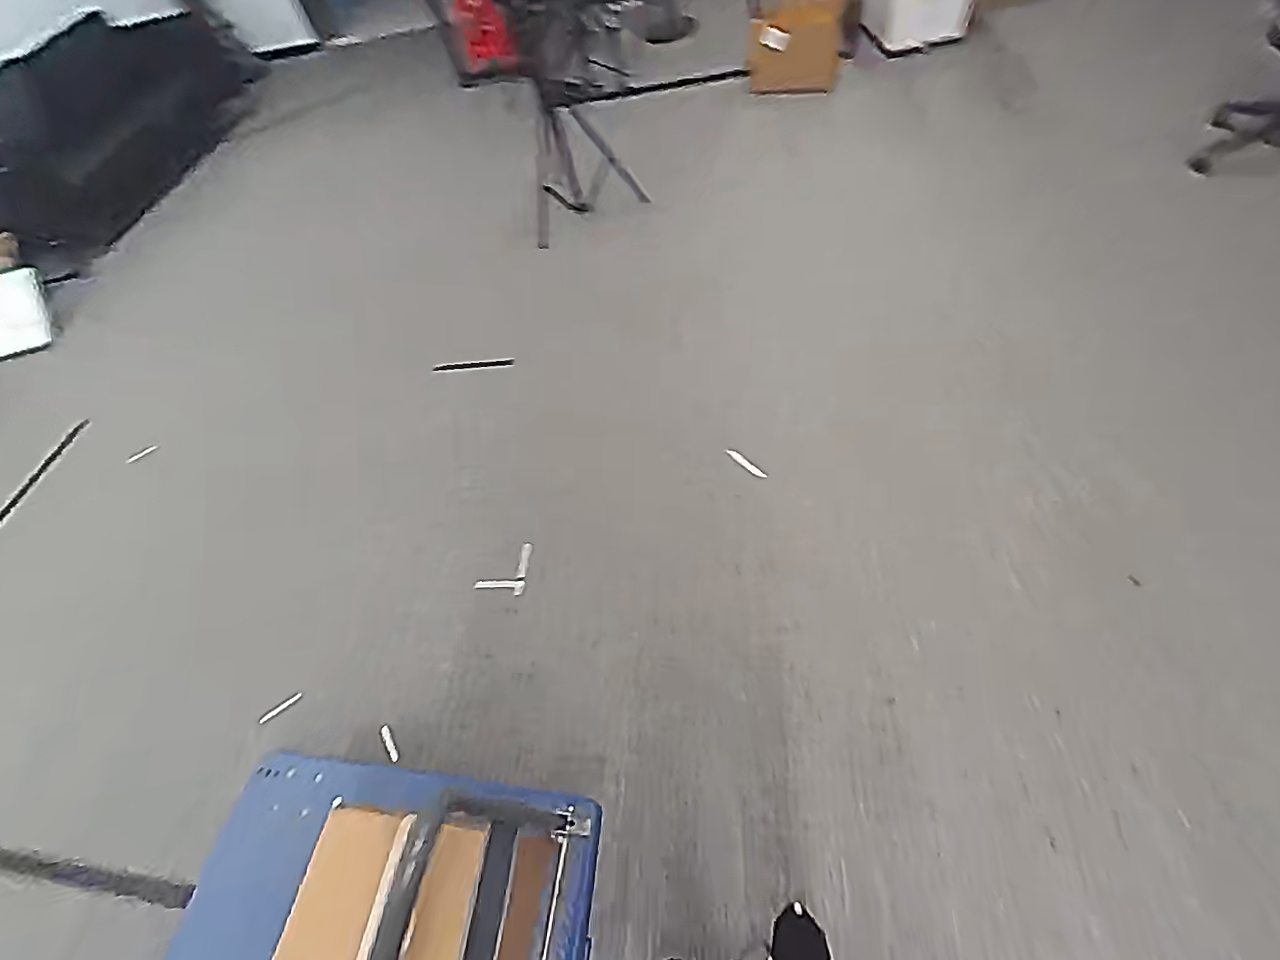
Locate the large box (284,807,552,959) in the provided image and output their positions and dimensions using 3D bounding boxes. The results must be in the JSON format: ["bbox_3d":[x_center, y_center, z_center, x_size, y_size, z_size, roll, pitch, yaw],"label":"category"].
[{"bbox_3d":[-0.379,0.830,0.933,0.320,0.320,0.408,1,55,13],"label":"large box"}]
